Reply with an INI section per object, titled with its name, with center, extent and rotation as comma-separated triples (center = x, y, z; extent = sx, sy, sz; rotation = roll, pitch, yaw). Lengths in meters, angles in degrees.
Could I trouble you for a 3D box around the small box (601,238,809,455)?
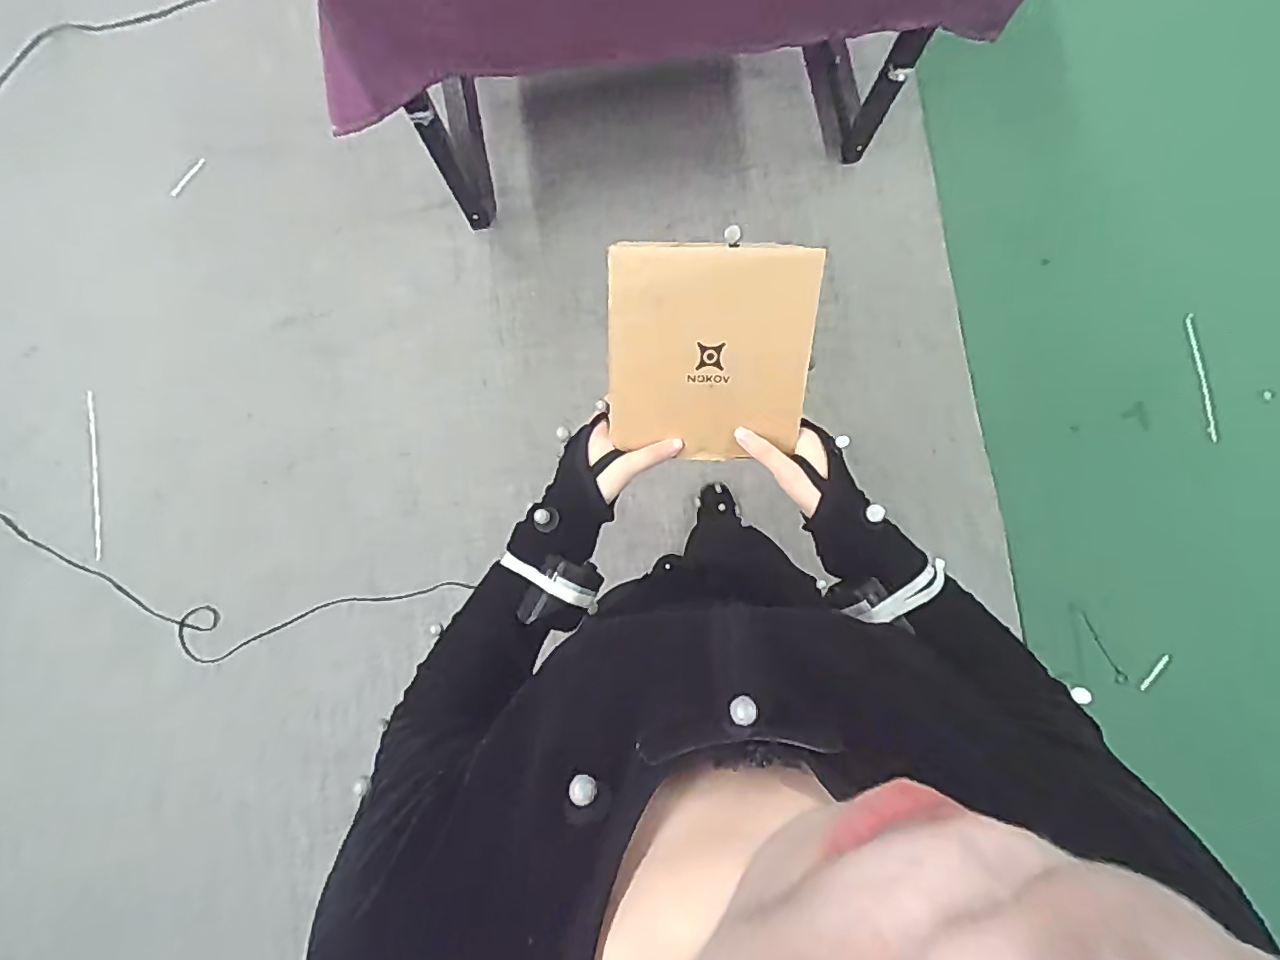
[small box]
center = 0.050, -0.137, 0.523
extent = 0.168, 0.176, 0.179
rotation = -1, 117, 1
